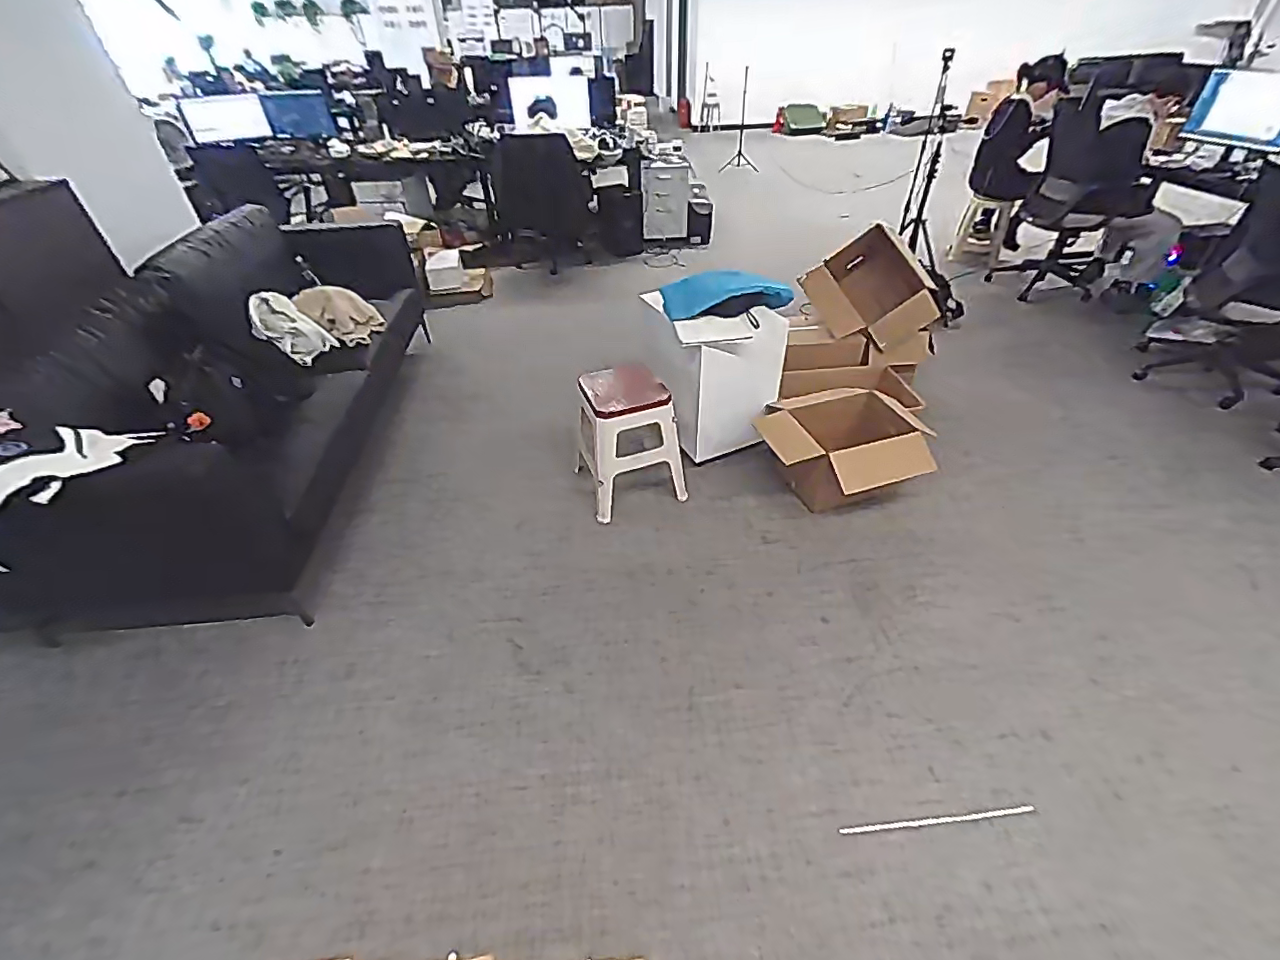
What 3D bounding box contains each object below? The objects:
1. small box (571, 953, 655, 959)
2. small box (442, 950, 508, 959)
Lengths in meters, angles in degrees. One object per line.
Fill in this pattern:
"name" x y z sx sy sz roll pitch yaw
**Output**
"small box" -0.047 1.010 0.998 0.168 0.176 0.179 -4 41 -1
"small box" -0.304 0.904 0.883 0.179 0.176 0.168 -6 41 -5
